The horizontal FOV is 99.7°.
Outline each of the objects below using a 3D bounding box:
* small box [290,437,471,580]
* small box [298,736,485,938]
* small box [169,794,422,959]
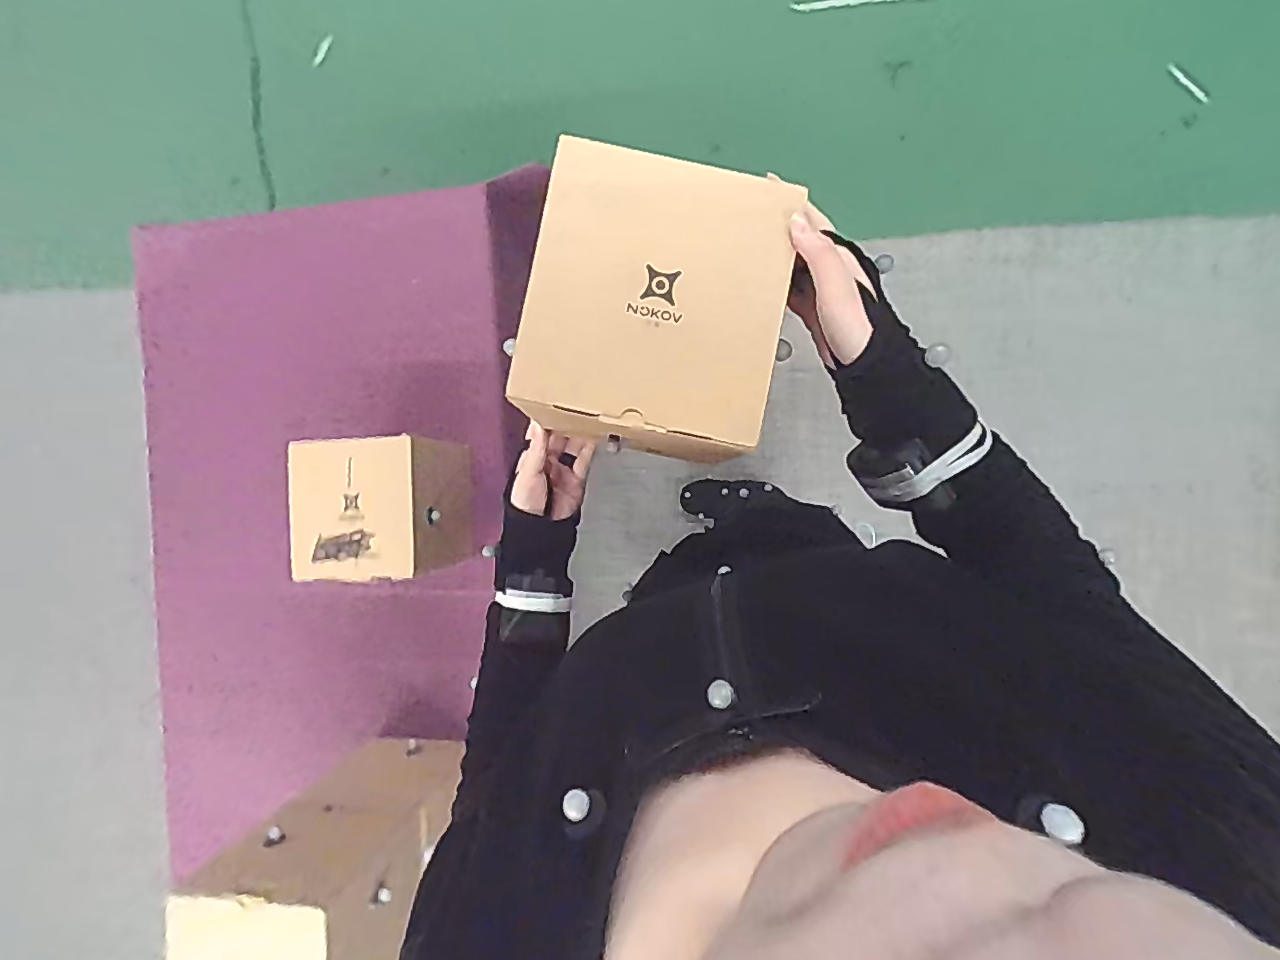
[{"bbox_3d":[-0.347,0.036,0.749,0.168,0.176,0.179,-3,89,7],"label":"small box"},{"bbox_3d":[-0.331,0.472,0.743,0.179,0.176,0.168,-2,90,8],"label":"small box"},{"bbox_3d":[-0.352,0.470,0.580,0.168,0.176,0.179,-1,90,8],"label":"small box"}]
